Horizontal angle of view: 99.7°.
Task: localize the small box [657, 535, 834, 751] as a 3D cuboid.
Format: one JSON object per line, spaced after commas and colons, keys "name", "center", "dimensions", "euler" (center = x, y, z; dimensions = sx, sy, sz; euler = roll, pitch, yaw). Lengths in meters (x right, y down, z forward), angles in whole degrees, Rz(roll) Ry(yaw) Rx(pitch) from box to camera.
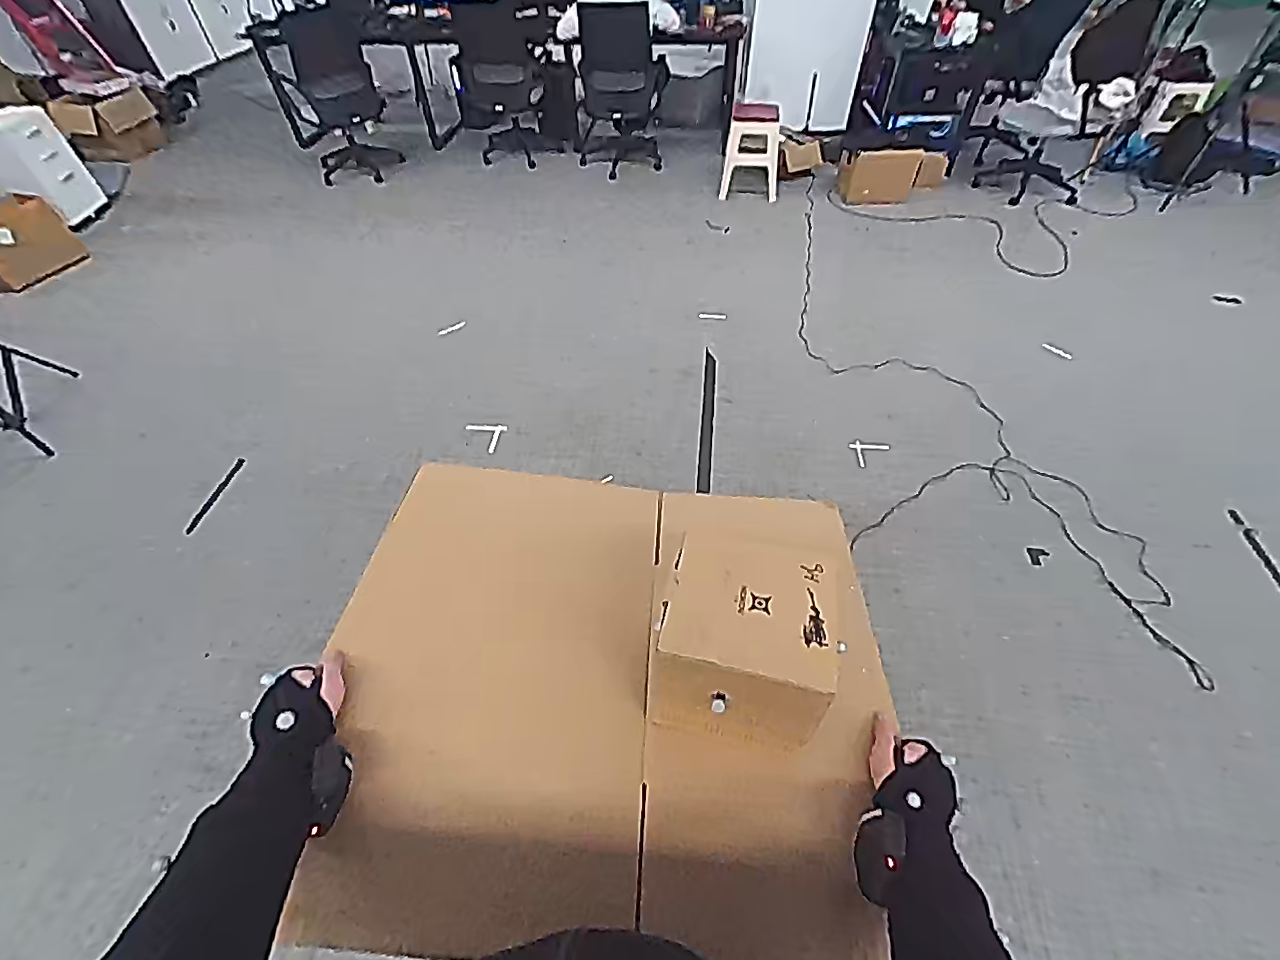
{"name": "small box", "center": [0.121, 0.192, 0.635], "dimensions": [0.179, 0.176, 0.168], "euler": [9, 44, 11]}
